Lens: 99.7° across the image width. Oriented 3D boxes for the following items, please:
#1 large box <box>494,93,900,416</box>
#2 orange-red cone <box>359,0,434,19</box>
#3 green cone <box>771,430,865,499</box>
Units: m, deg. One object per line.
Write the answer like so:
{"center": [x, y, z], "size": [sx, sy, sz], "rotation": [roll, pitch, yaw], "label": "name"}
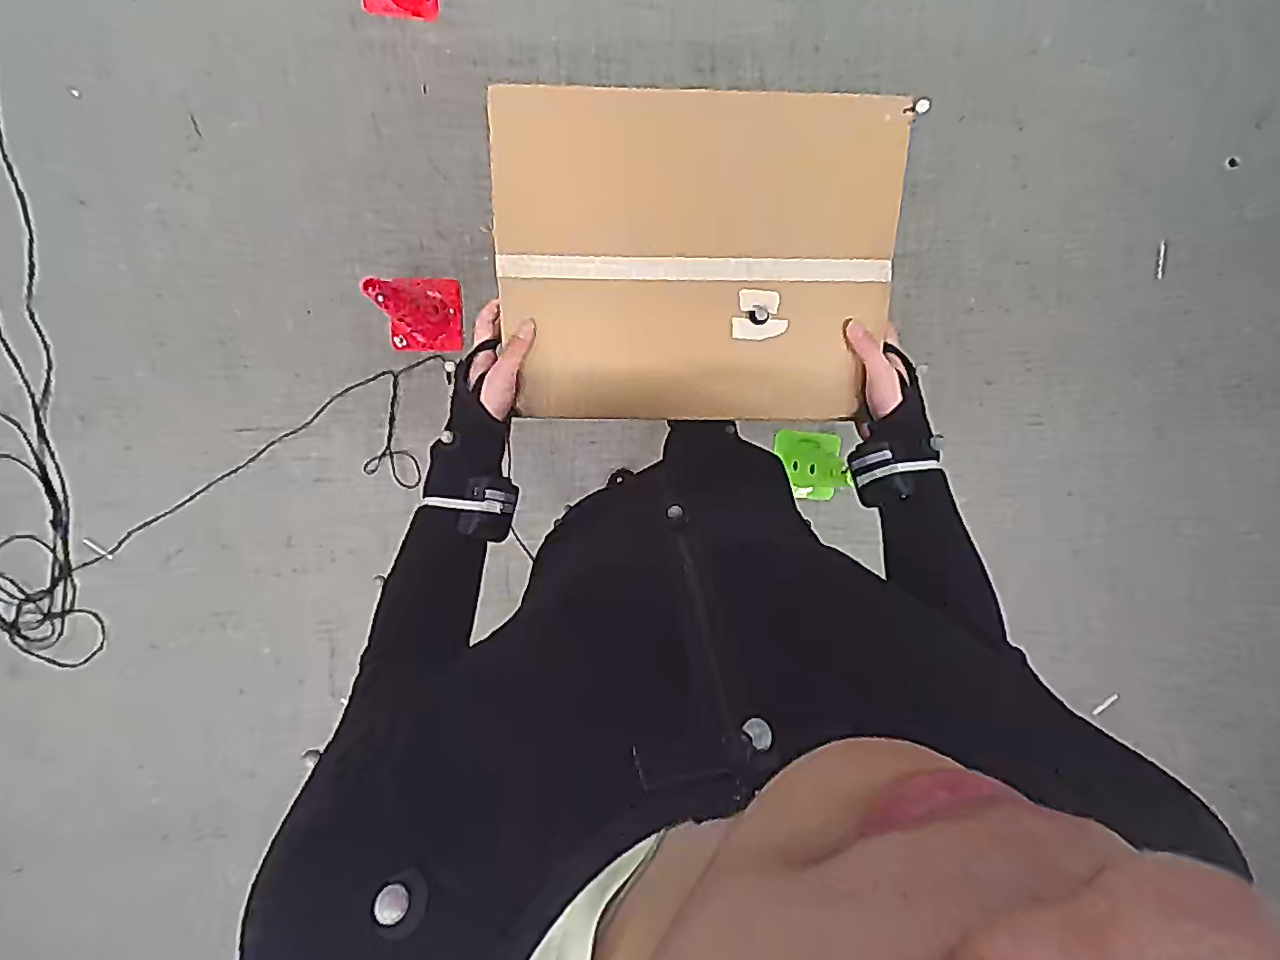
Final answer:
{"center": [0.051, -0.265, 0.705], "size": [0.408, 0.320, 0.320], "rotation": [-1, 107, -2], "label": "large box"}
{"center": [-0.629, -1.306, 1.248], "size": [0.199, 0.360, 0.198], "rotation": [6, 96, -2], "label": "orange-red cone"}
{"center": [0.509, -0.029, 1.460], "size": [0.200, 0.368, 0.202], "rotation": [4, 95, -4], "label": "green cone"}
